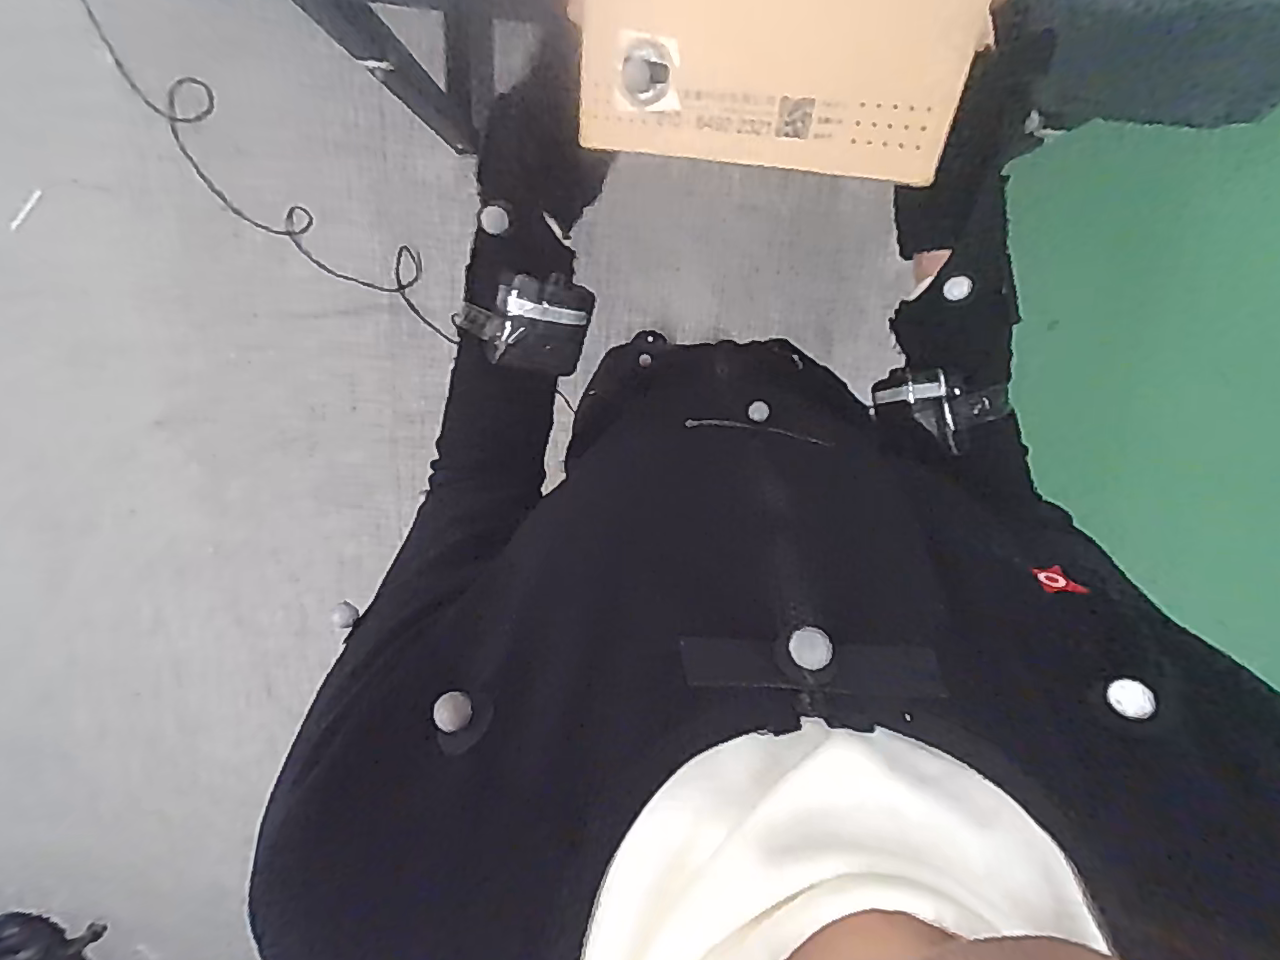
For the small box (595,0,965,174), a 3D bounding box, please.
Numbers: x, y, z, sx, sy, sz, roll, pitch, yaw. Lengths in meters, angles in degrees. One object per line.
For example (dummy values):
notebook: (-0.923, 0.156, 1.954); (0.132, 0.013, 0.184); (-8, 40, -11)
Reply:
small box: (0.083, -0.264, 0.284); (0.168, 0.179, 0.176); (16, 124, 15)
